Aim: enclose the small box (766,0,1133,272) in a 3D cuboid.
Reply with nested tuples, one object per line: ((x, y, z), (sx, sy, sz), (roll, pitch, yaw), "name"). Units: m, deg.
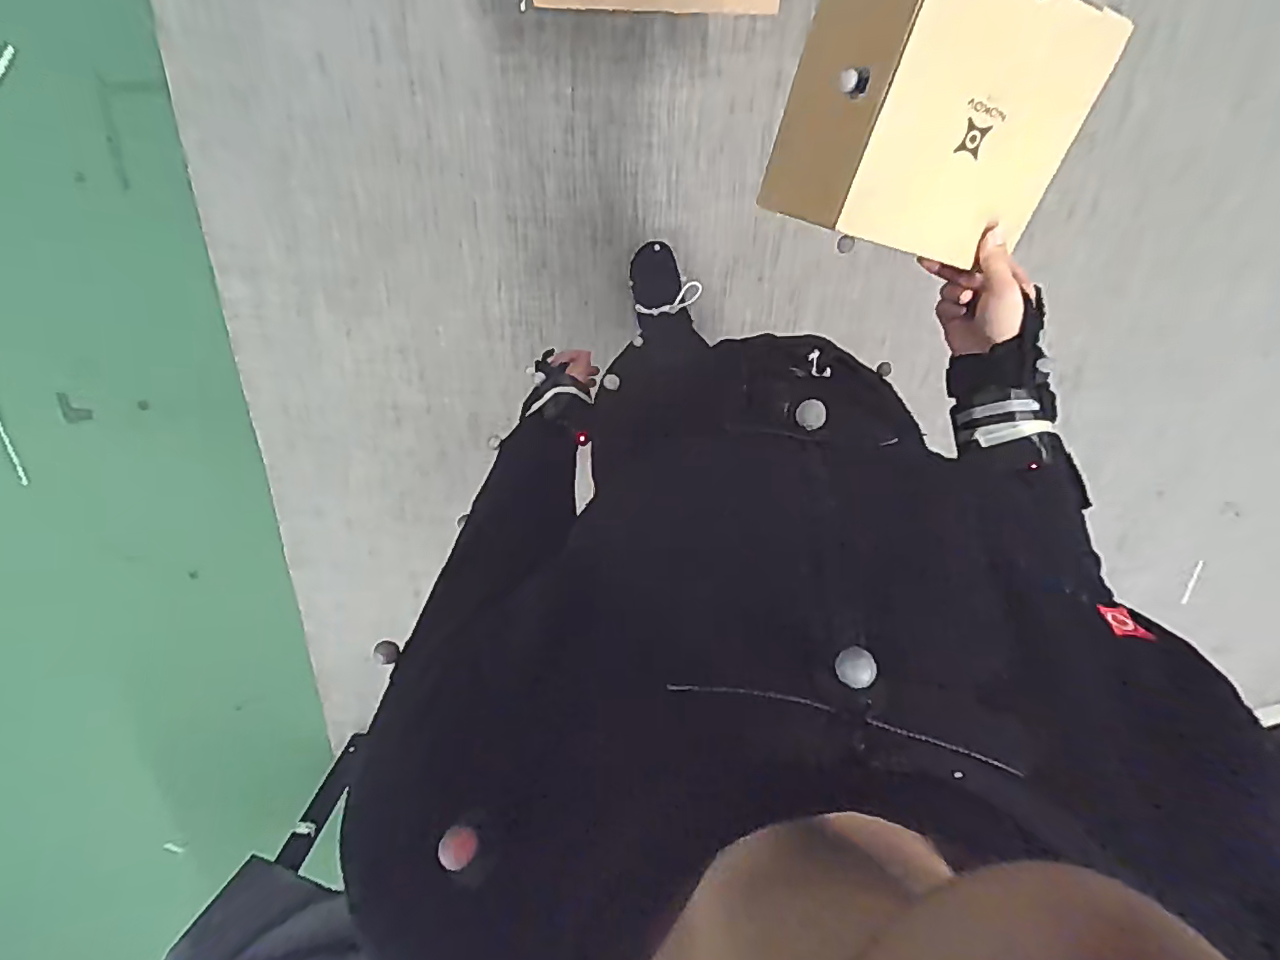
((0.225, -0.296, 0.453), (0.168, 0.176, 0.179), (7, 119, -16), "small box")
